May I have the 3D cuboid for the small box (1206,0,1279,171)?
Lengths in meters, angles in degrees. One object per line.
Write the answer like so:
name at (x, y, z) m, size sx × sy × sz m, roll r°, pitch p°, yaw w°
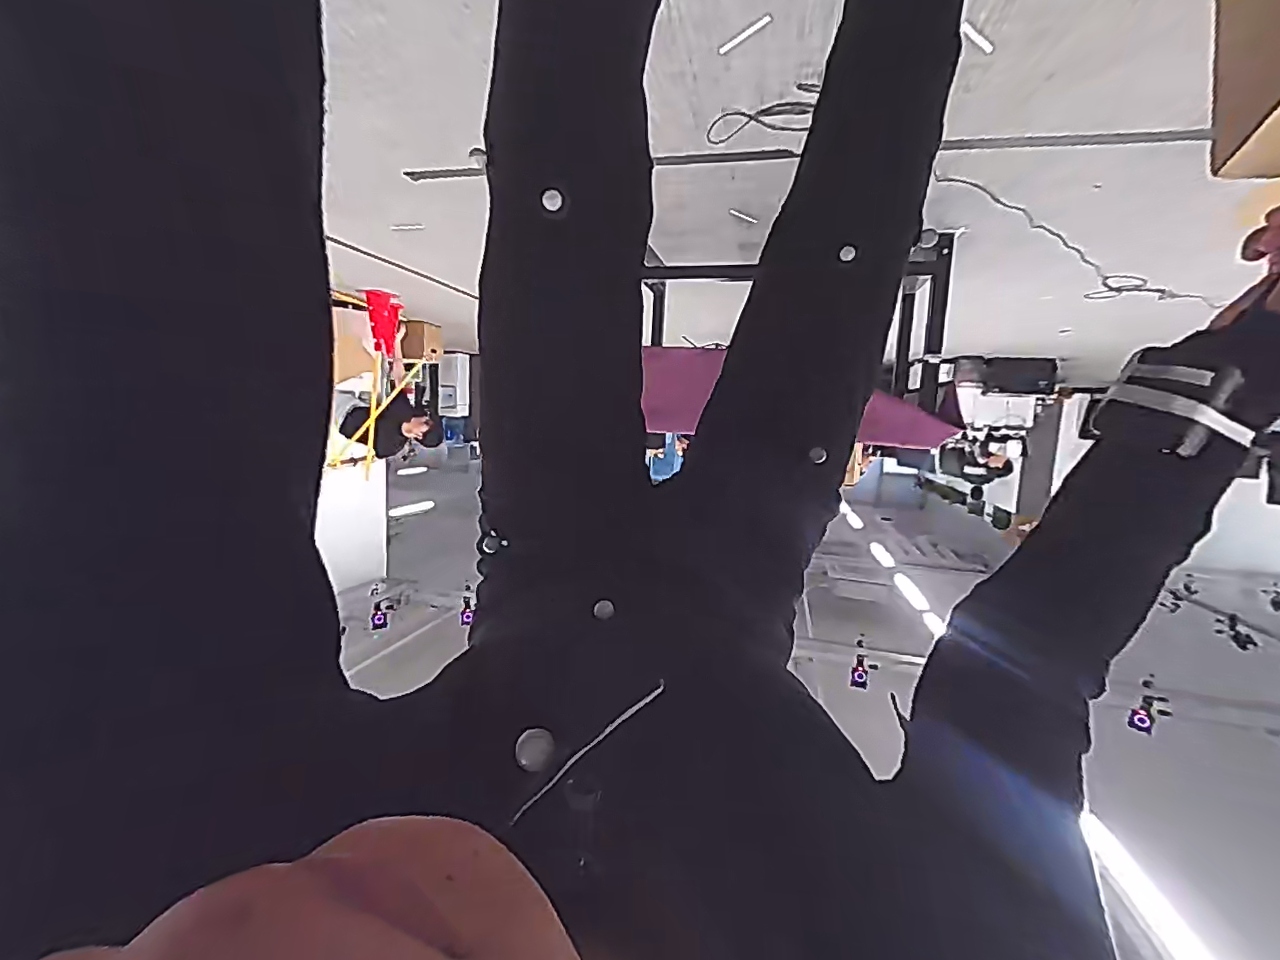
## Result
small box at (0.418, -0.272, 0.240) m, size 0.168 × 0.176 × 0.179 m, roll 11°, pitch 166°, yaw 18°
